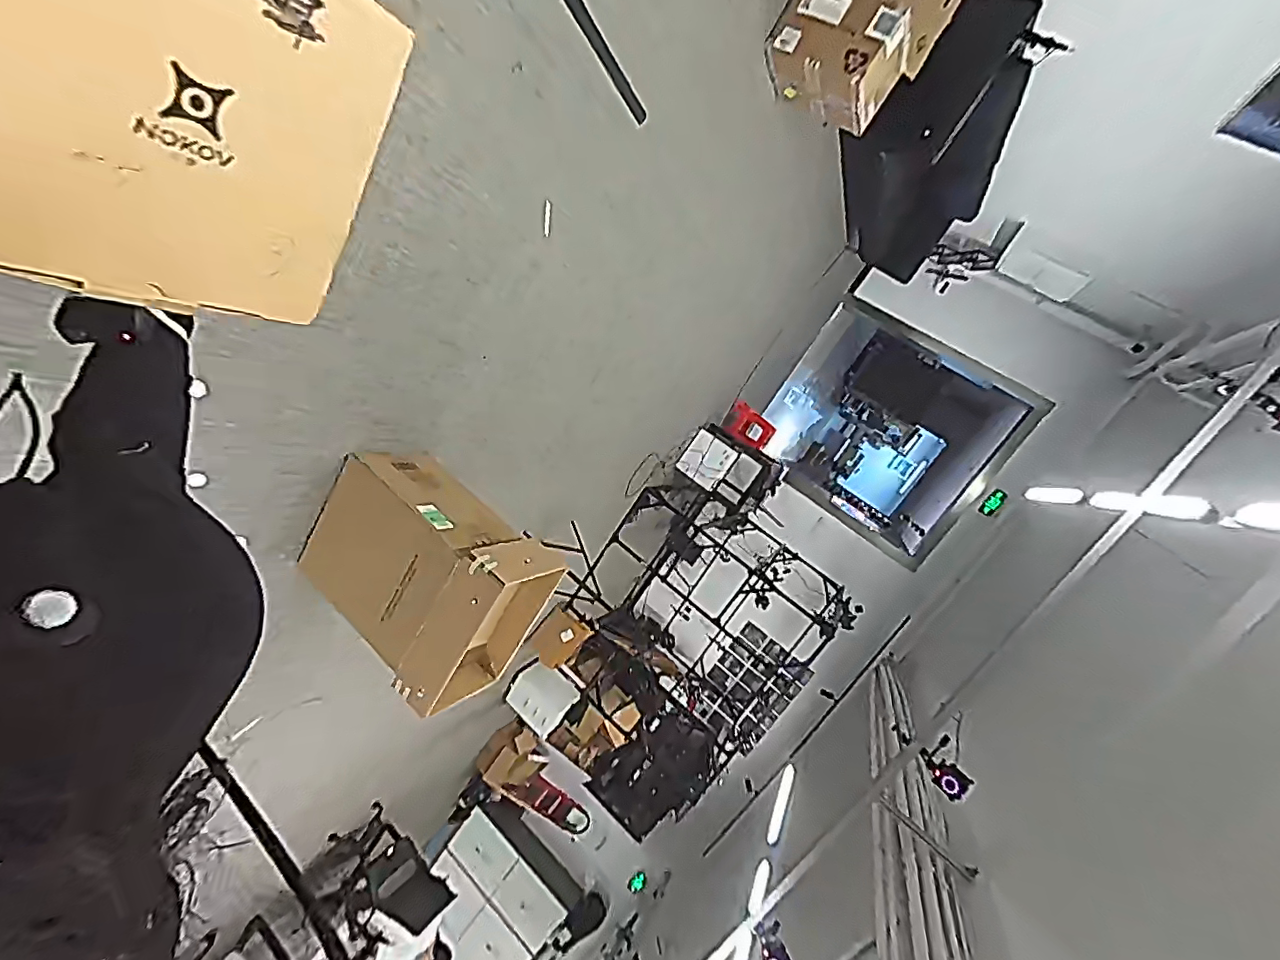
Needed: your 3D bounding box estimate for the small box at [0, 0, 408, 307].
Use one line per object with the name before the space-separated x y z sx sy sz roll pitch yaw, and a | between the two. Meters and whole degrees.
small box | -0.257 -0.217 0.257 0.179 0.176 0.168 -55 162 19
